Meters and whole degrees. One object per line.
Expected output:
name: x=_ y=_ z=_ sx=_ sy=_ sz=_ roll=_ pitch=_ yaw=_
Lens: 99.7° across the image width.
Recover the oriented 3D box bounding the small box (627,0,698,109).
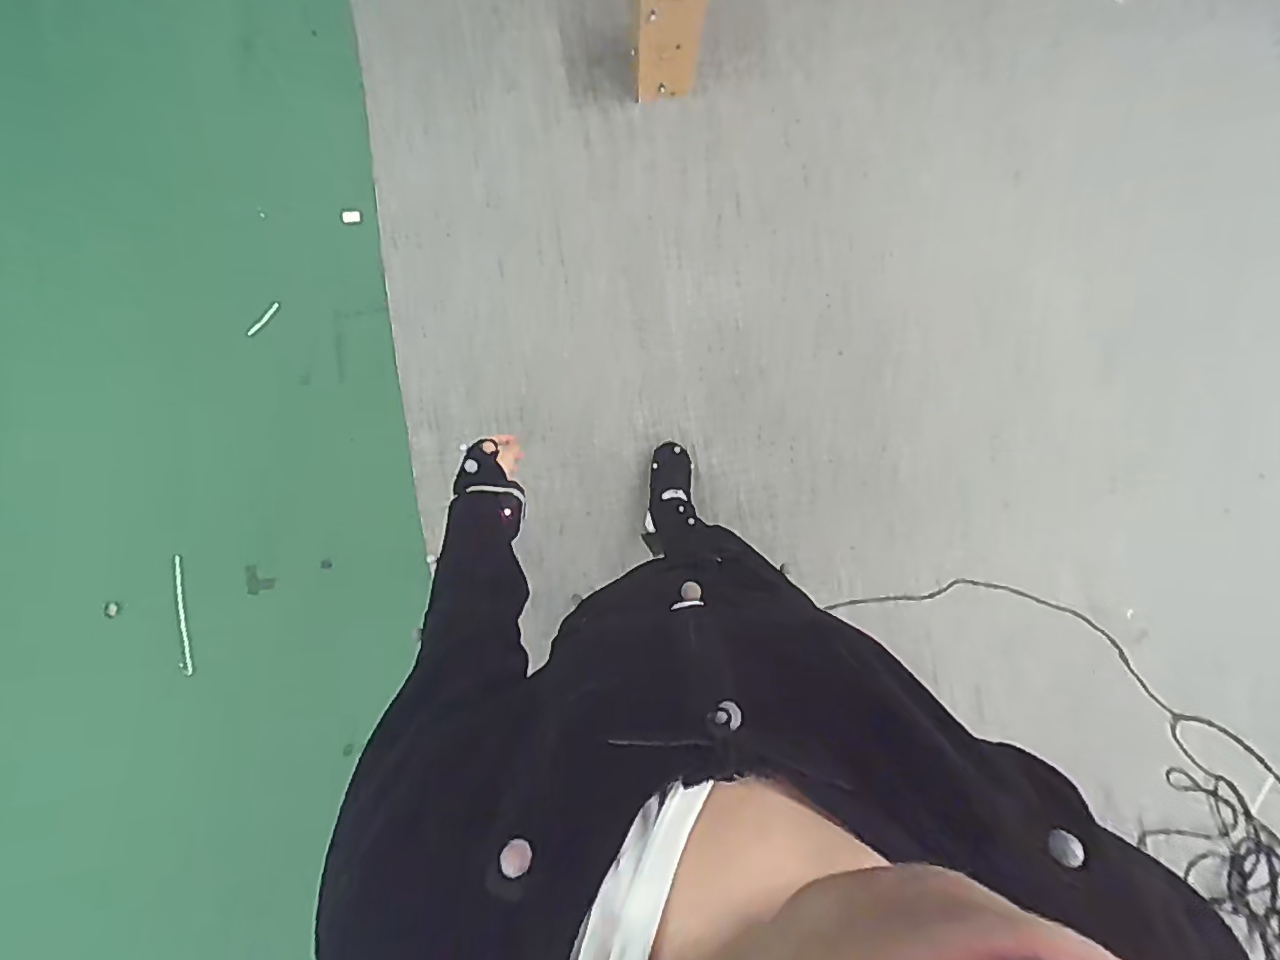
small box: x=0.056 y=-1.191 z=1.518 sx=0.168 sy=0.176 sz=0.179 roll=-9 pitch=87 yaw=-4
